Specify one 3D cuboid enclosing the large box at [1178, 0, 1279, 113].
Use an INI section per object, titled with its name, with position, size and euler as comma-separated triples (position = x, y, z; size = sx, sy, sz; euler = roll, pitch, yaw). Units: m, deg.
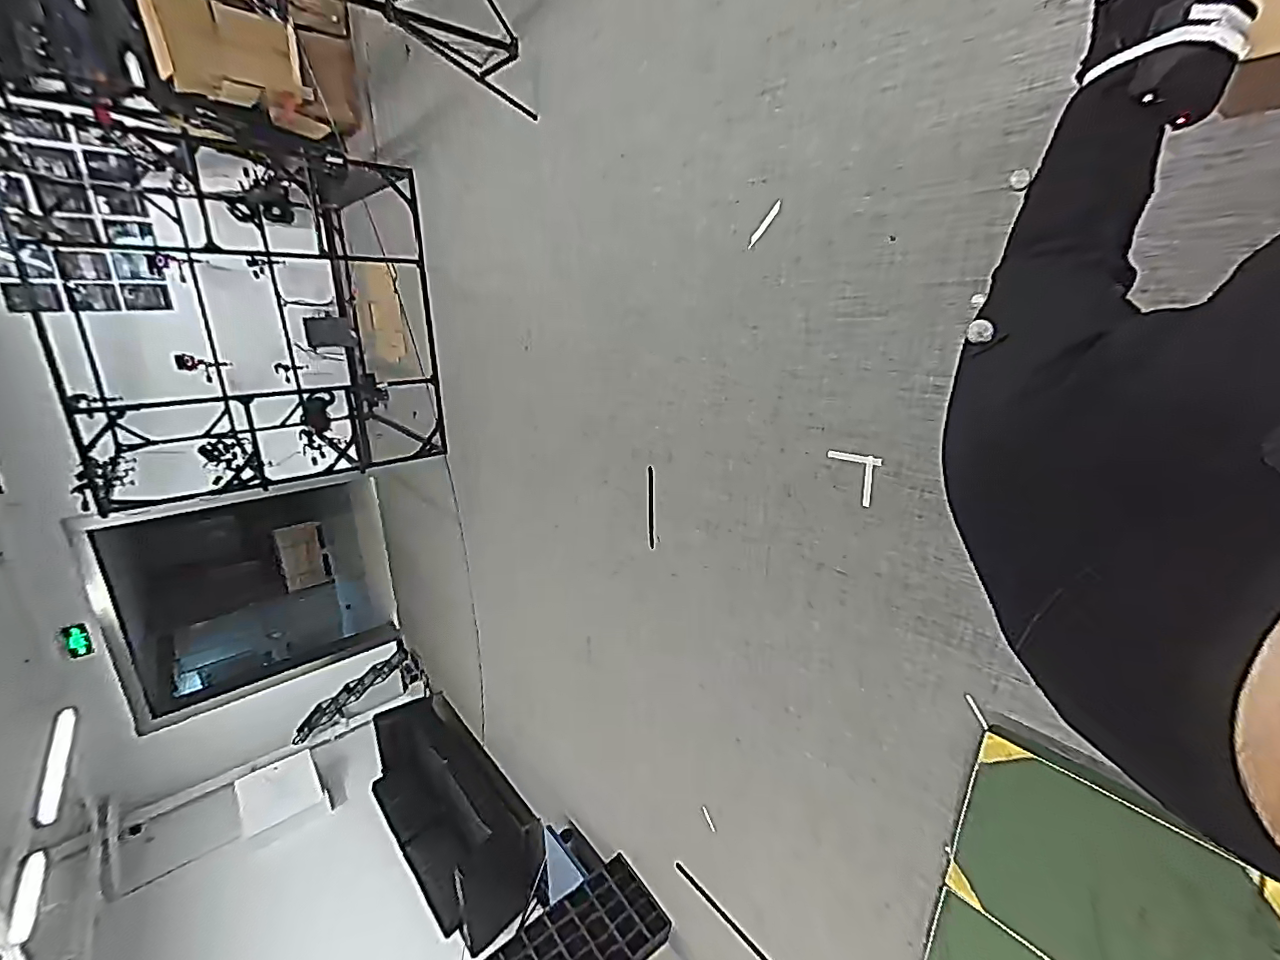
[large box]
position = 0.643, -0.469, 0.319
size = 0.408, 0.320, 0.320
euler = 17, 120, 46
